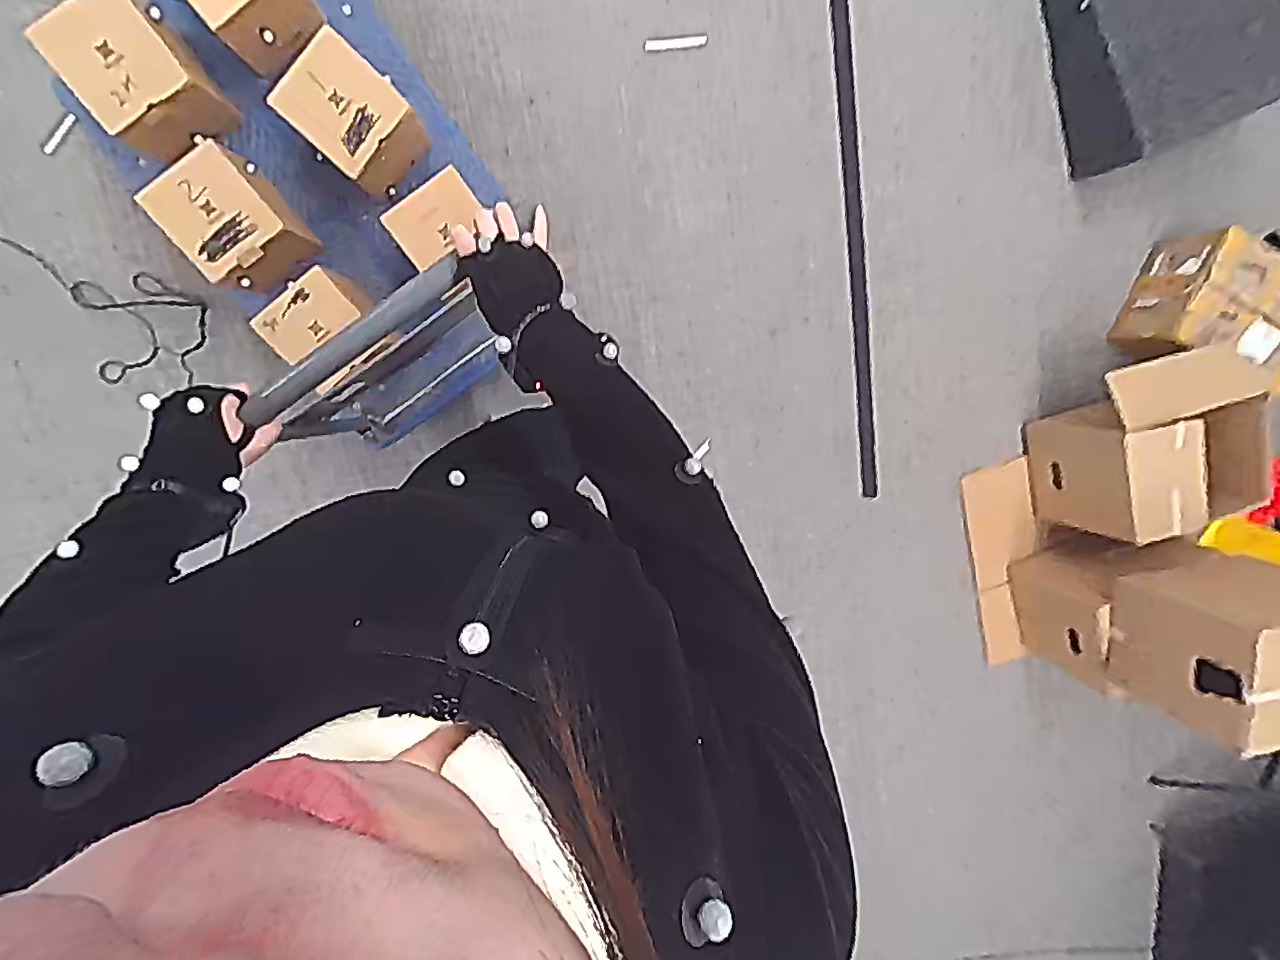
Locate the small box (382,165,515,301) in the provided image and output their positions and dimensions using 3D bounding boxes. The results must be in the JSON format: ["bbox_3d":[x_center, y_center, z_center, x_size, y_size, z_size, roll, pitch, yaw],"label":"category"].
[{"bbox_3d":[-0.365,-0.474,1.073,0.168,0.176,0.179,-36,105,-1],"label":"small box"}]

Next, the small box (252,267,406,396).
[{"bbox_3d":[-0.601,-0.292,1.075,0.168,0.176,0.179,-40,106,1],"label":"small box"}]

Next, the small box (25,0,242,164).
[{"bbox_3d":[-0.859,-0.696,0.941,0.168,0.176,0.179,-35,106,0],"label":"small box"}]

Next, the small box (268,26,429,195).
[{"bbox_3d":[-0.524,-0.663,1.003,0.179,0.176,0.168,40,94,-15],"label":"small box"}]

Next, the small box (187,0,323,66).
[{"bbox_3d":[-0.695,-0.864,0.930,0.168,0.176,0.179,-39,106,2],"label":"small box"}]
